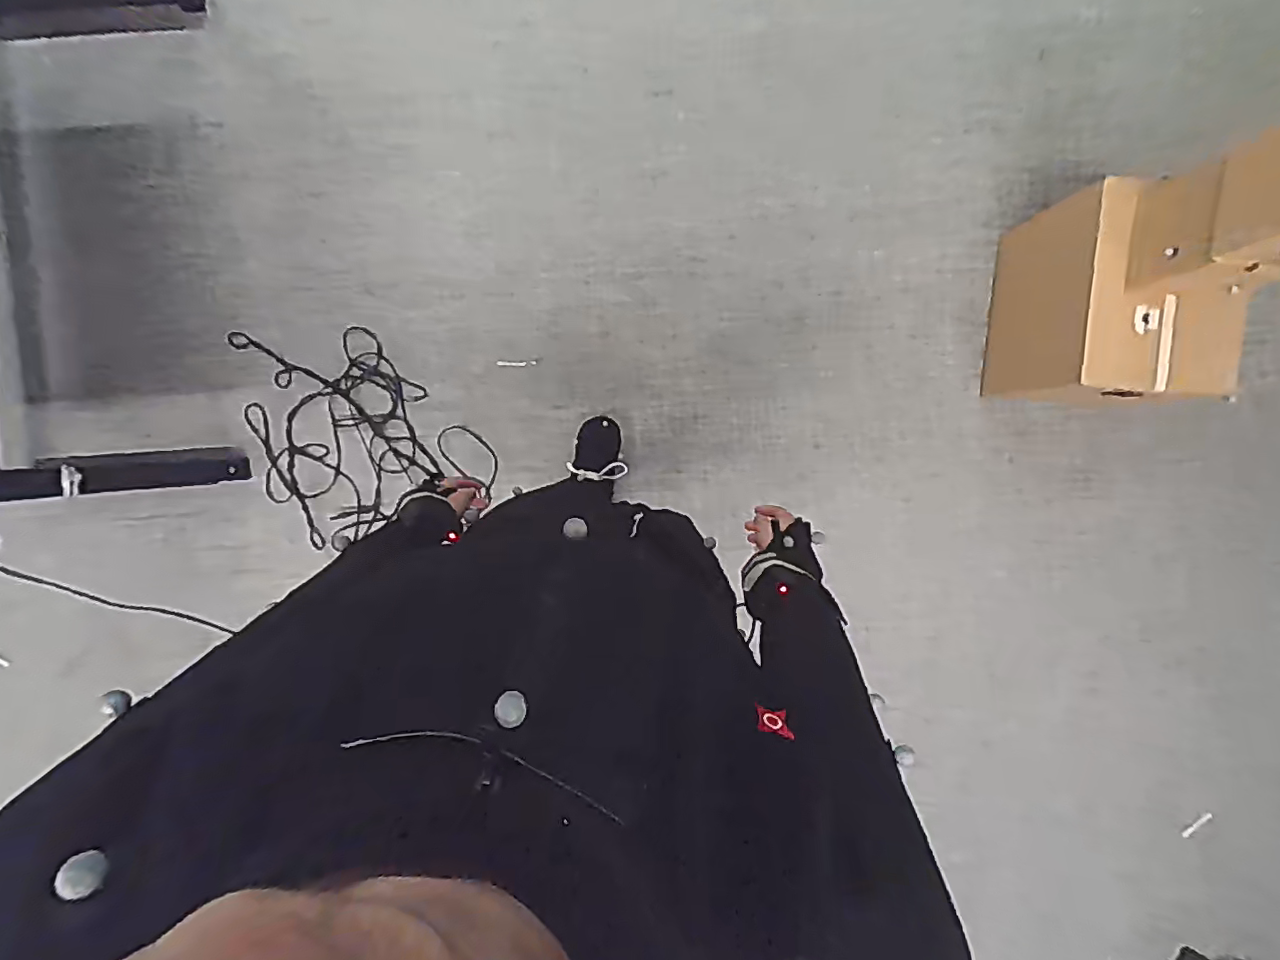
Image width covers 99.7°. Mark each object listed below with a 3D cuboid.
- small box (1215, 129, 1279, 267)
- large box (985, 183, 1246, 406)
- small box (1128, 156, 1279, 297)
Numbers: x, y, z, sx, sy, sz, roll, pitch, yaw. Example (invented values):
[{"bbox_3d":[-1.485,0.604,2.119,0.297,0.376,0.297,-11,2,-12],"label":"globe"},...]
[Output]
[{"bbox_3d":[1.013,-0.430,0.791,0.168,0.176,0.179,6,94,-2],"label":"small box"},{"bbox_3d":[1.025,-0.380,1.199,0.320,0.320,0.408,3,95,0],"label":"large box"},{"bbox_3d":[1.018,-0.434,0.953,0.168,0.176,0.179,4,93,-2],"label":"small box"}]
